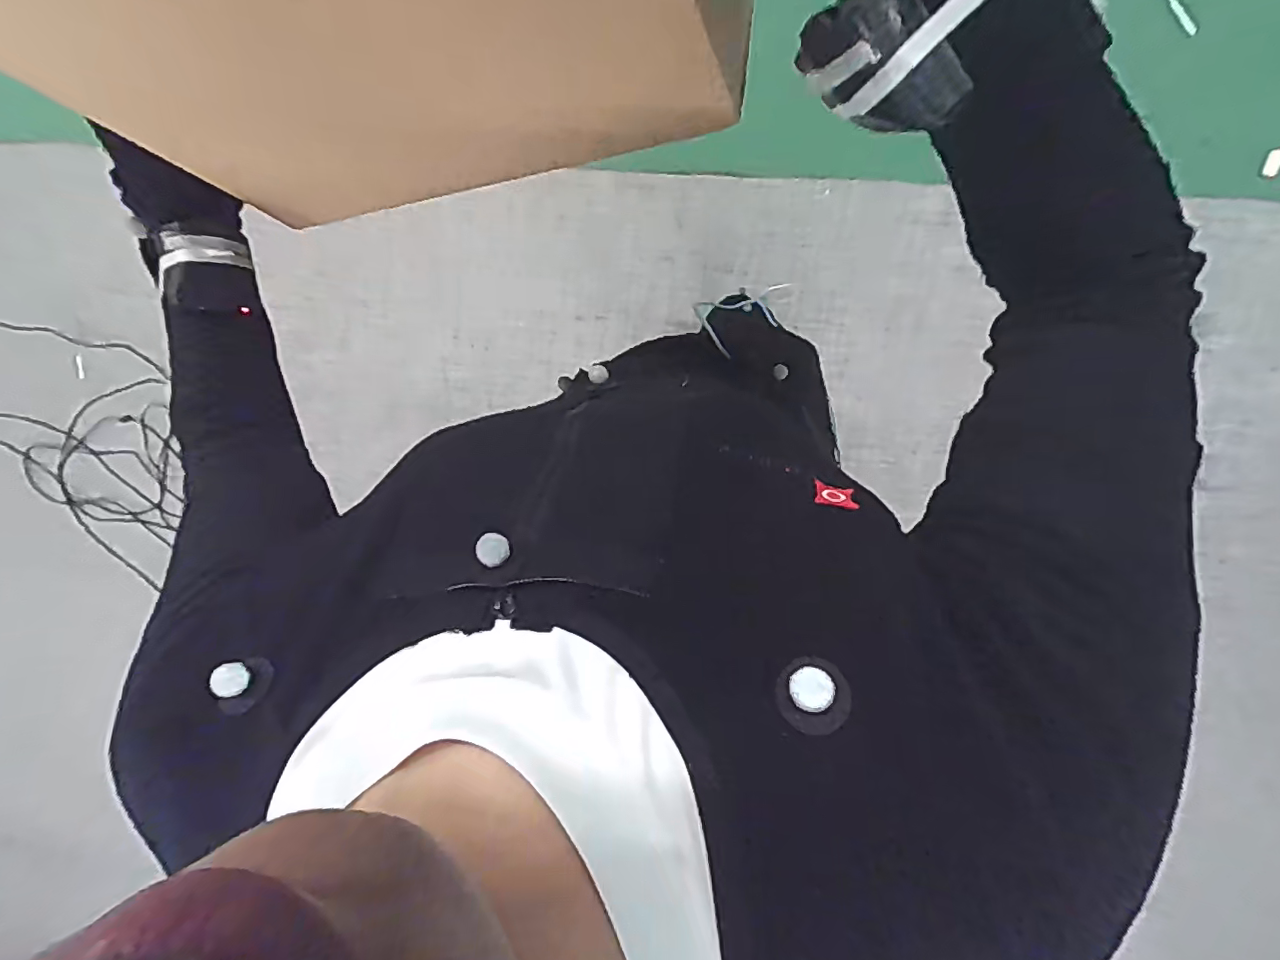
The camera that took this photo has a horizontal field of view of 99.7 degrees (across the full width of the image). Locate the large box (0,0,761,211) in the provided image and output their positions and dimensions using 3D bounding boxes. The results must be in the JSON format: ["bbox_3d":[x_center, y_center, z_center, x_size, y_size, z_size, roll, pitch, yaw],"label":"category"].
[{"bbox_3d":[-0.159,-0.390,0.272,0.408,0.320,0.320,3,85,24],"label":"large box"}]
